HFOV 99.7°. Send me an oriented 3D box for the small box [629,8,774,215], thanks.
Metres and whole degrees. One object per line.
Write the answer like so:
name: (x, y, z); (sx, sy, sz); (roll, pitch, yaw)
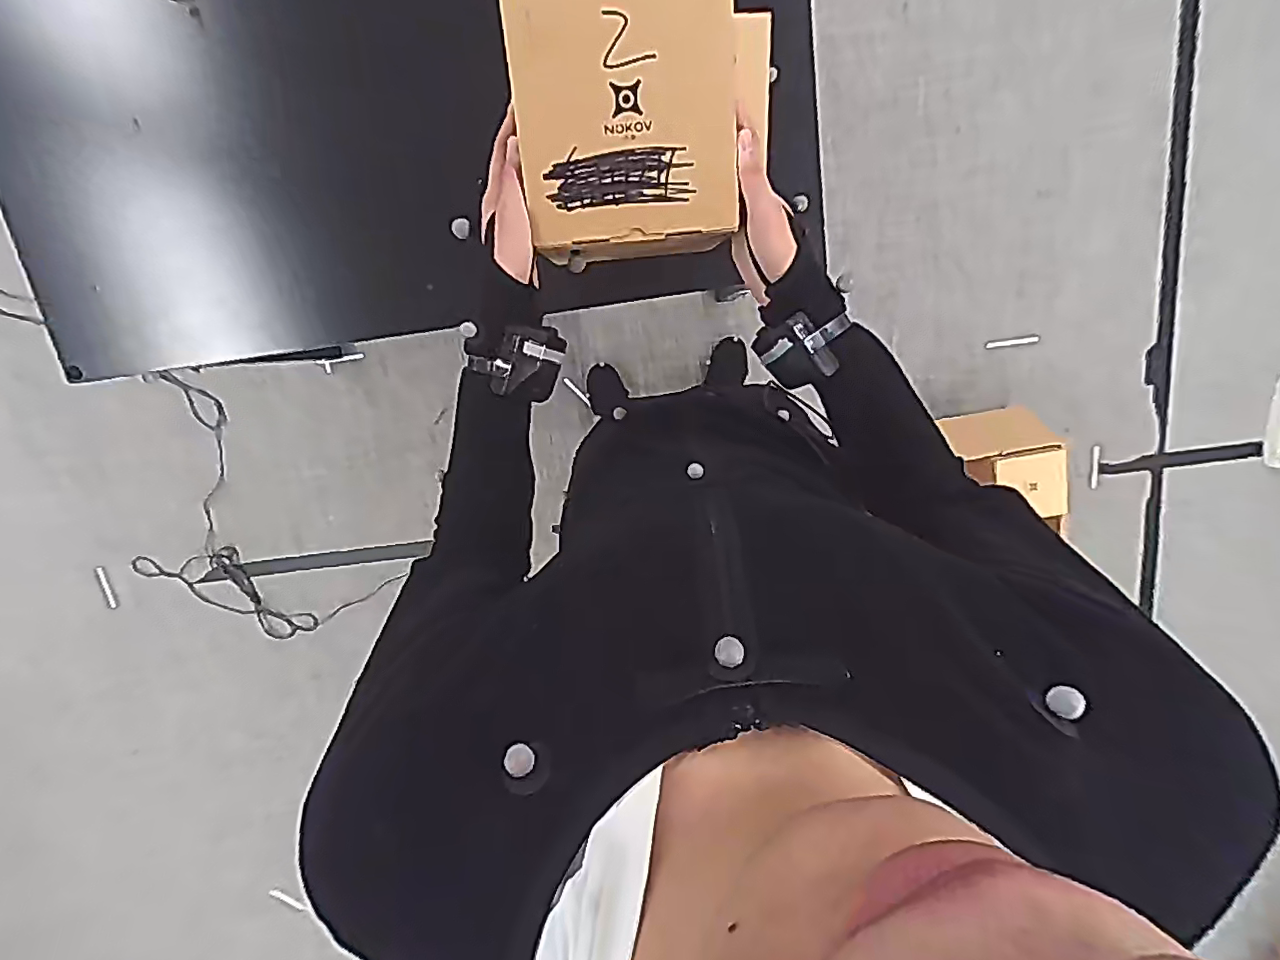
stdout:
small box: (0.069, -0.461, 0.702); (0.168, 0.176, 0.179); (-1, 104, 0)
